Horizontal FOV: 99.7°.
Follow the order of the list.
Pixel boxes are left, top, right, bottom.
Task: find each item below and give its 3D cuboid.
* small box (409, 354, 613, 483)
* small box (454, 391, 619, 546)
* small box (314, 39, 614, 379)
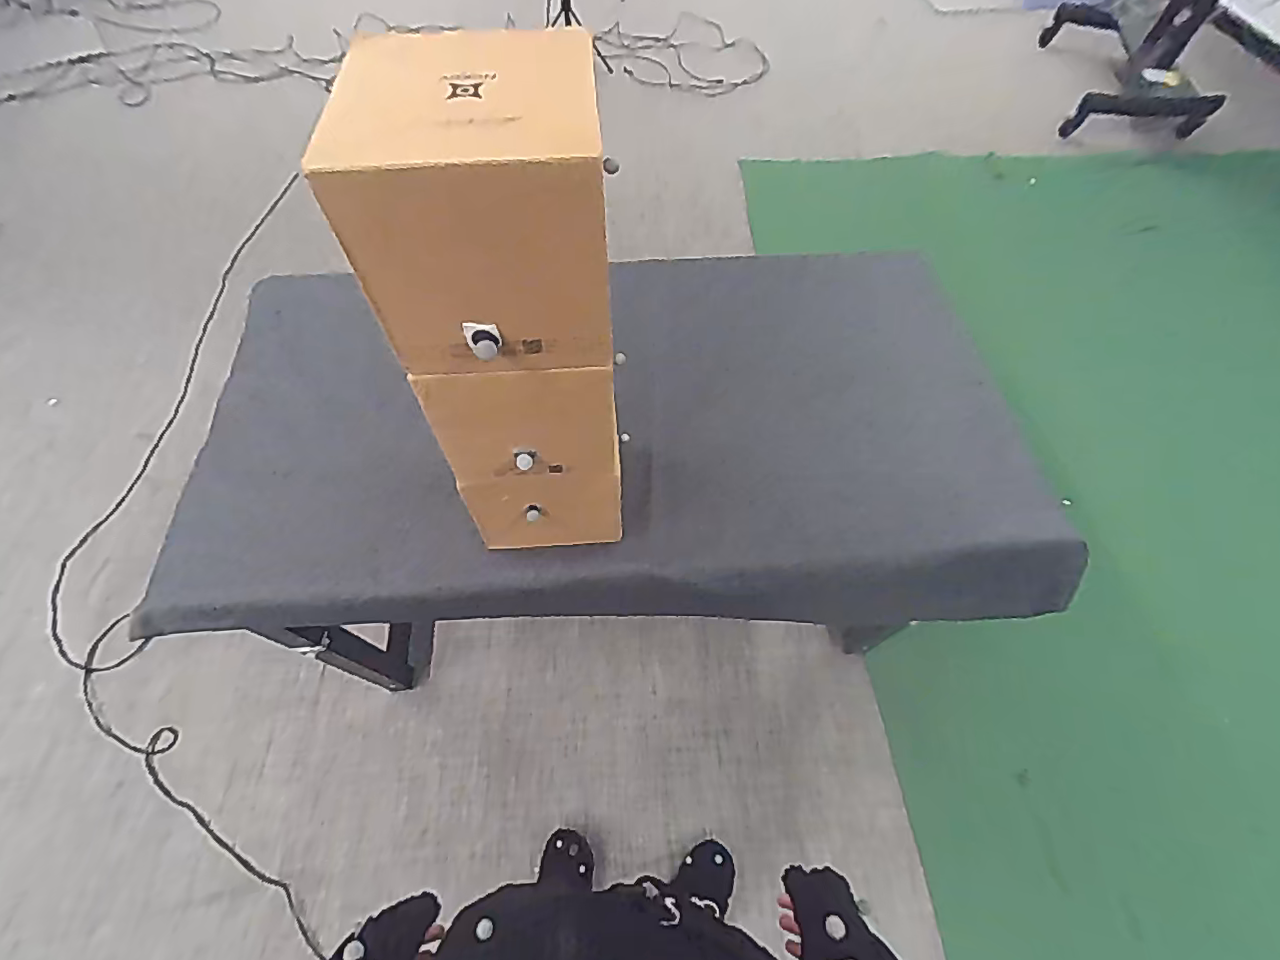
[{"bbox_3d":[-0.113,-0.114,0.549,0.168,0.176,0.179,-2,59,-3],"label":"small box"},{"bbox_3d":[-0.118,-0.024,0.687,0.179,0.176,0.168,-3,59,-3],"label":"small box"},{"bbox_3d":[-0.107,-0.199,0.412,0.168,0.176,0.179,-4,59,-3],"label":"small box"}]
